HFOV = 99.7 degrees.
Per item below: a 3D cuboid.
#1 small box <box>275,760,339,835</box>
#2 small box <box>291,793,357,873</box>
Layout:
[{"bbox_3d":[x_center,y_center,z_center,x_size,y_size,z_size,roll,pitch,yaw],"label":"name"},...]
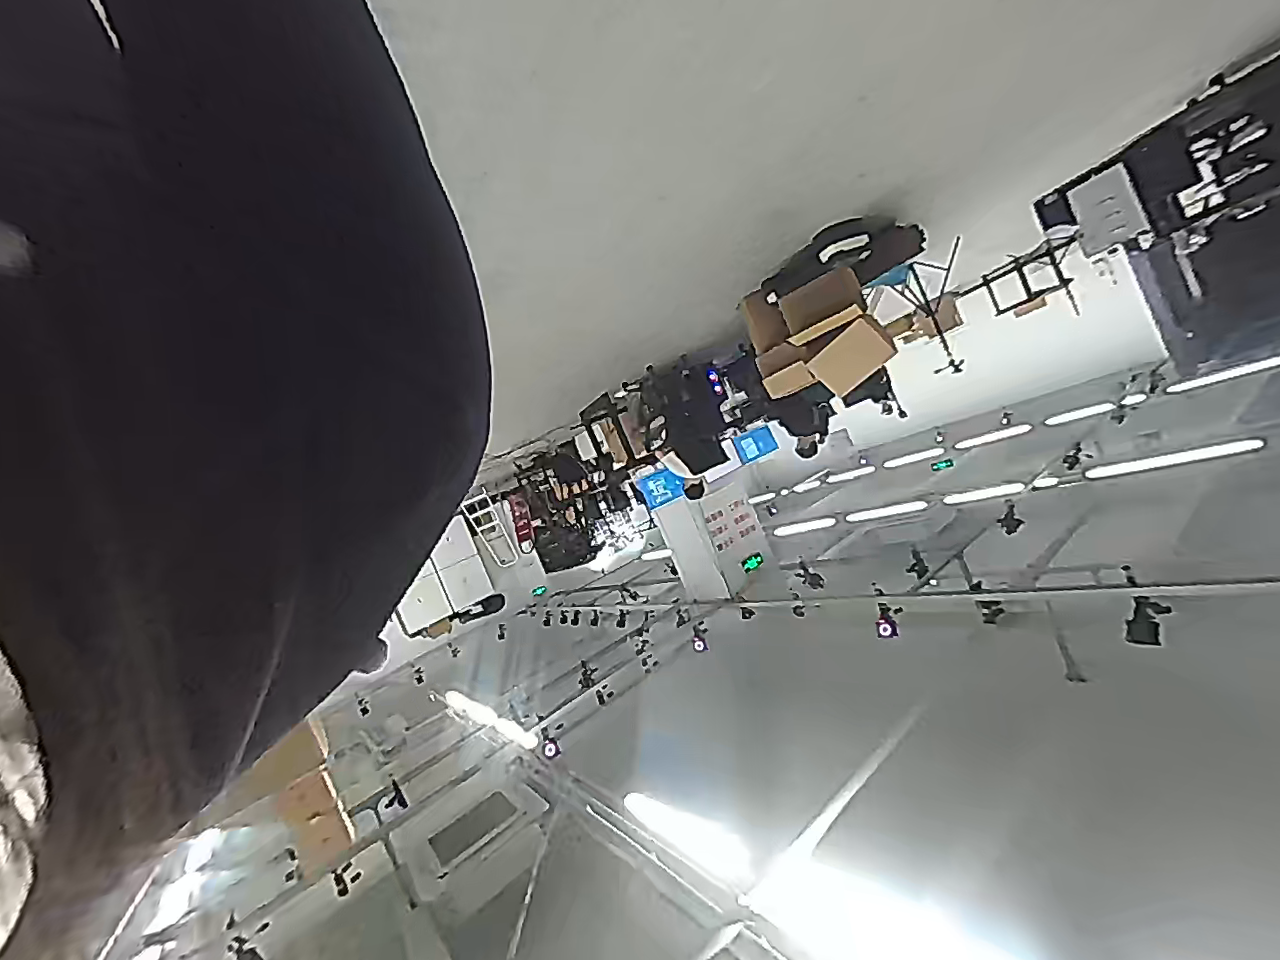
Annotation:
[{"bbox_3d":[-1.289,1.223,2.095,0.168,0.176,0.179,-25,179,-33],"label":"small box"},{"bbox_3d":[-1.223,1.356,2.089,0.179,0.176,0.168,-26,180,-32],"label":"small box"}]
